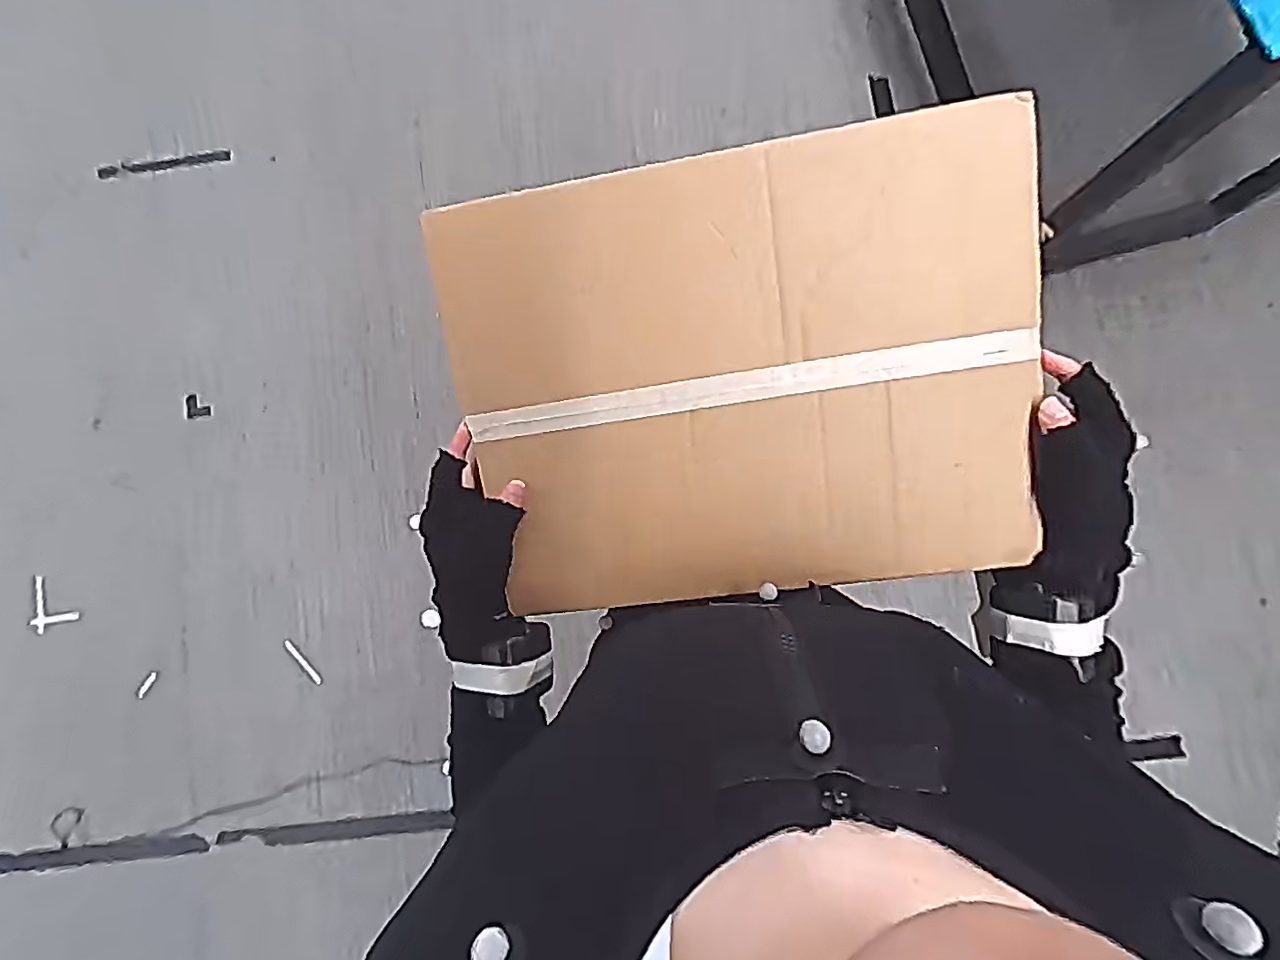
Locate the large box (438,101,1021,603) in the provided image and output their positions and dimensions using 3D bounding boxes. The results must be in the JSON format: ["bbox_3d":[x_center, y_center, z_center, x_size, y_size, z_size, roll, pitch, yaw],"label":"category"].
[{"bbox_3d":[0.080,-0.099,0.544,0.408,0.320,0.320,-7,102,7],"label":"large box"}]
